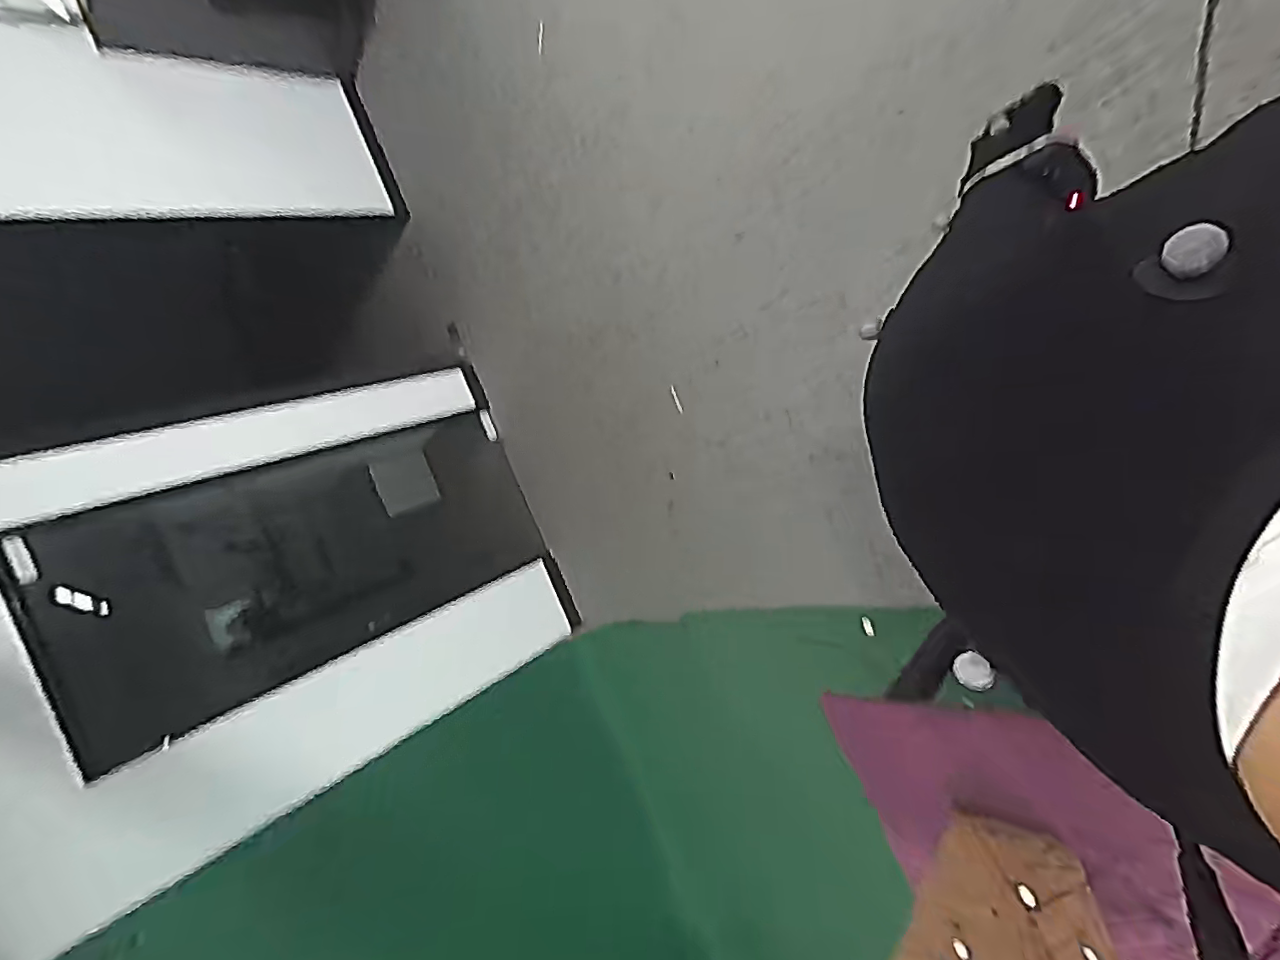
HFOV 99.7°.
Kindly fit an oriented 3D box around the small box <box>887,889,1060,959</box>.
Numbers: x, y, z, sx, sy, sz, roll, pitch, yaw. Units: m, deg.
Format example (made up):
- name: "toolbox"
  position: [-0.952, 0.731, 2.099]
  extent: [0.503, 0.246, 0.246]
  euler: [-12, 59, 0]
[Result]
- name: "small box"
  position: [0.446, 0.690, 0.695]
  extent: [0.168, 0.176, 0.179]
  euler: [-24, 91, 51]
